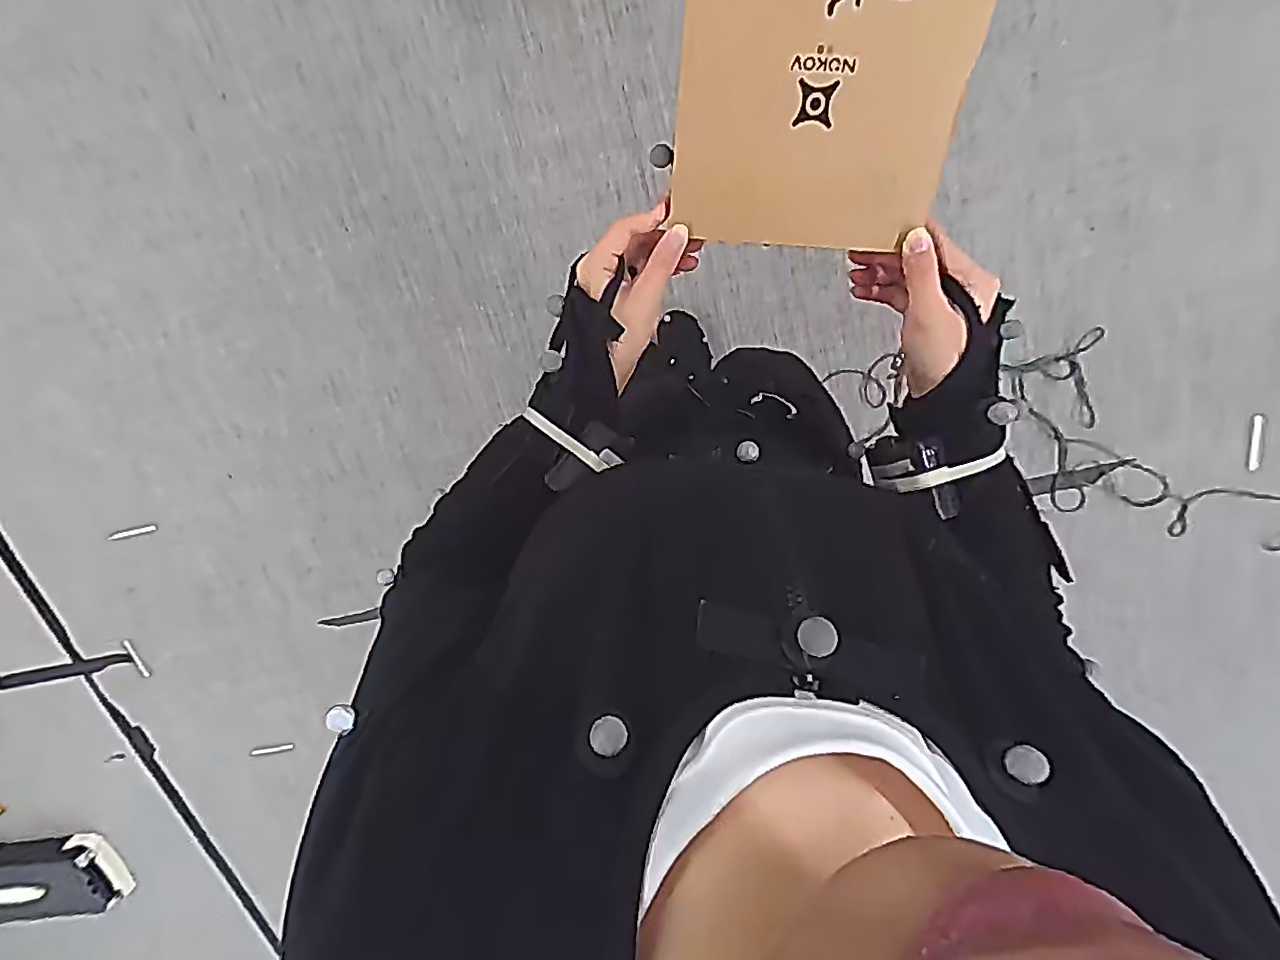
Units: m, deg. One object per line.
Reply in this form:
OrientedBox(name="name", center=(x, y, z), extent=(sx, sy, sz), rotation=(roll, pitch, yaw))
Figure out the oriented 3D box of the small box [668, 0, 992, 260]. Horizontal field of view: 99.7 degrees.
OrientedBox(name="small box", center=(0.113, -0.272, 0.385), extent=(0.168, 0.176, 0.179), rotation=(5, 124, 3))
